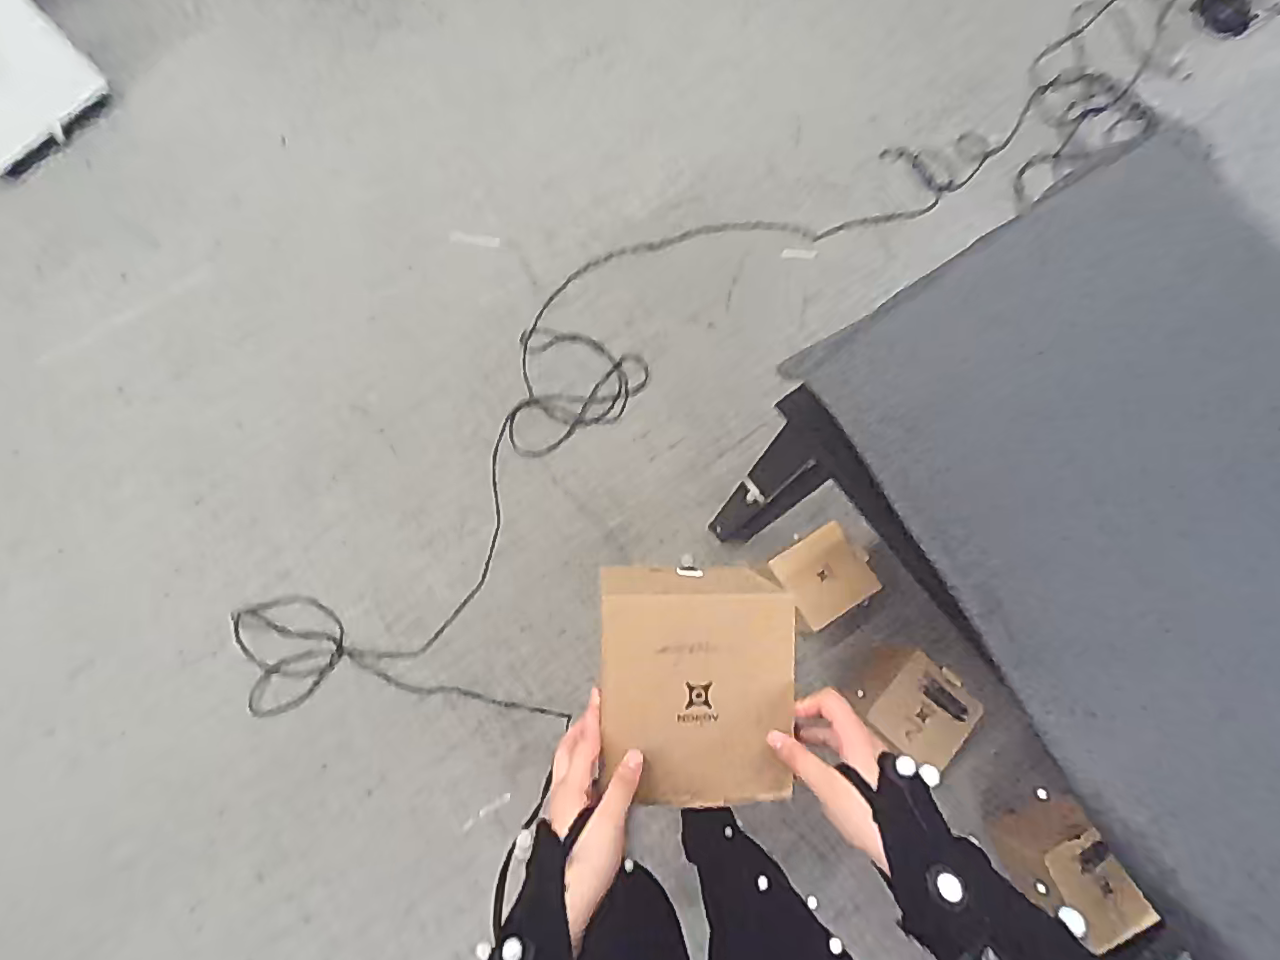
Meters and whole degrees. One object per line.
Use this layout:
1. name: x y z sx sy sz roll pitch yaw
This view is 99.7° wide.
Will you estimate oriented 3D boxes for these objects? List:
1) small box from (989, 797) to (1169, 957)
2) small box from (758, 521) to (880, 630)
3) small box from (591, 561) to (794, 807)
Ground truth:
1. small box: 0.825 0.742 1.040 0.168 0.176 0.179 -22 78 -6
2. small box: 0.376 0.215 1.179 0.179 0.176 0.168 -30 77 -9
3. small box: 0.038 0.180 0.522 0.168 0.176 0.179 1 90 -5
